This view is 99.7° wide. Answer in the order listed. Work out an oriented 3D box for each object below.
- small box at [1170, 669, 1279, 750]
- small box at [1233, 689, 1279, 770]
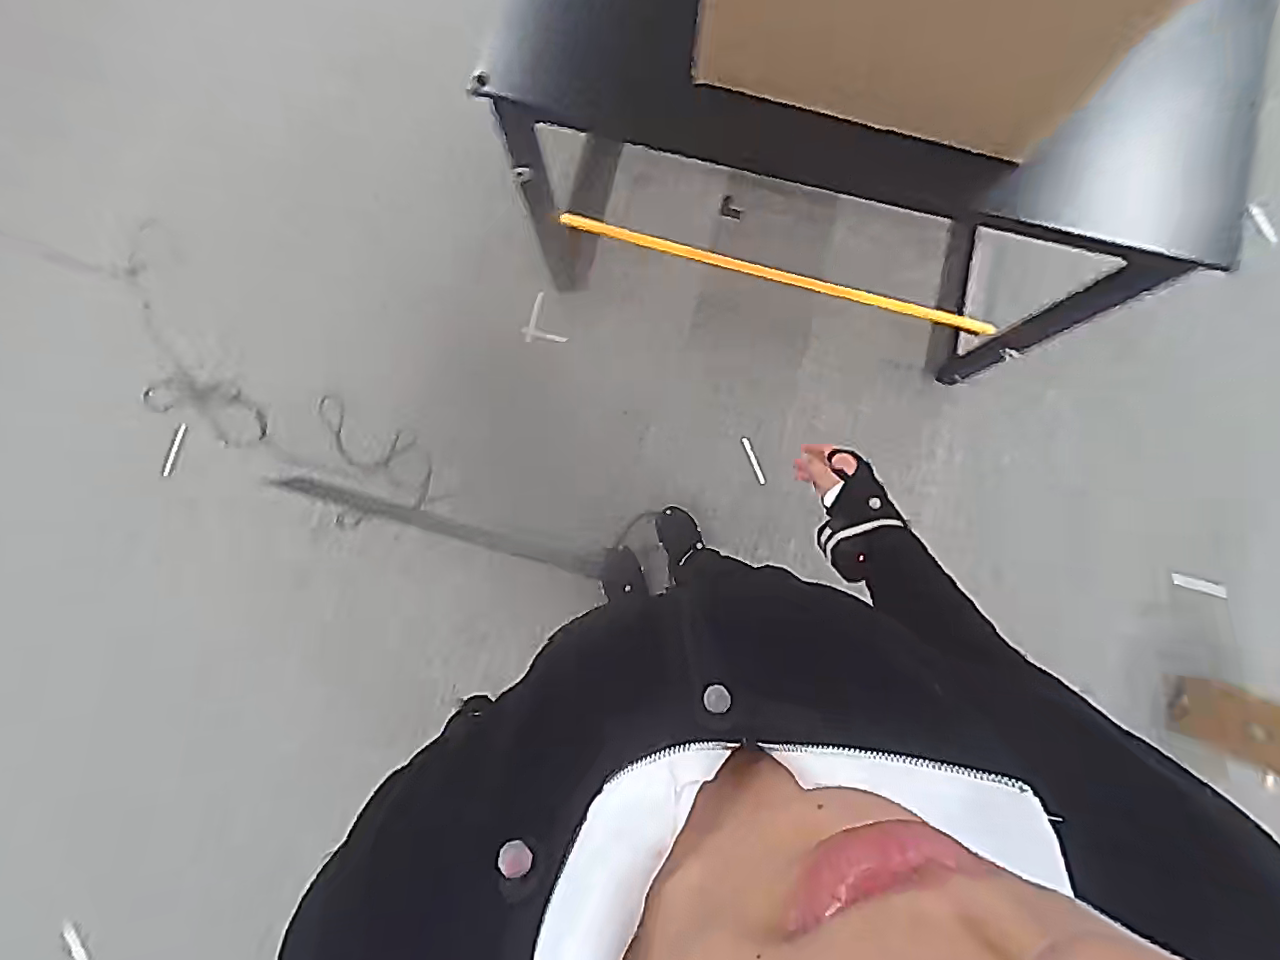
[{"bbox_3d":[1.533,0.600,1.383,0.179,0.176,0.168,14,84,2],"label":"small box"},{"bbox_3d":[1.523,0.589,1.218,0.179,0.176,0.168,15,84,1],"label":"small box"}]
